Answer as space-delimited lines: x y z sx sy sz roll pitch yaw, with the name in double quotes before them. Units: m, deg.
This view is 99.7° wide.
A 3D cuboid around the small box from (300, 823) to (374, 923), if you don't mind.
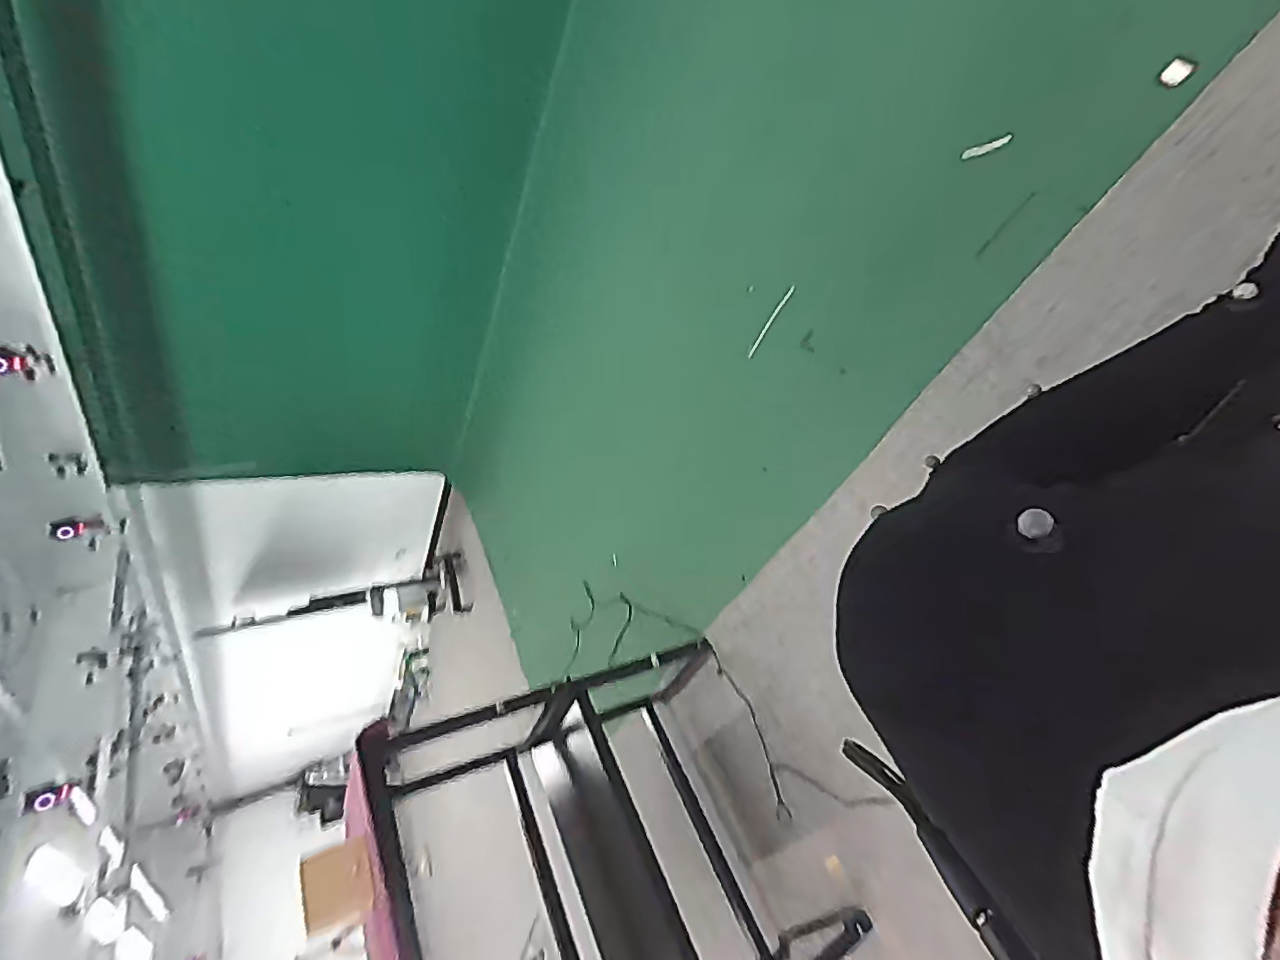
"small box" -0.877 1.123 1.559 0.179 0.176 0.168 60 139 33
